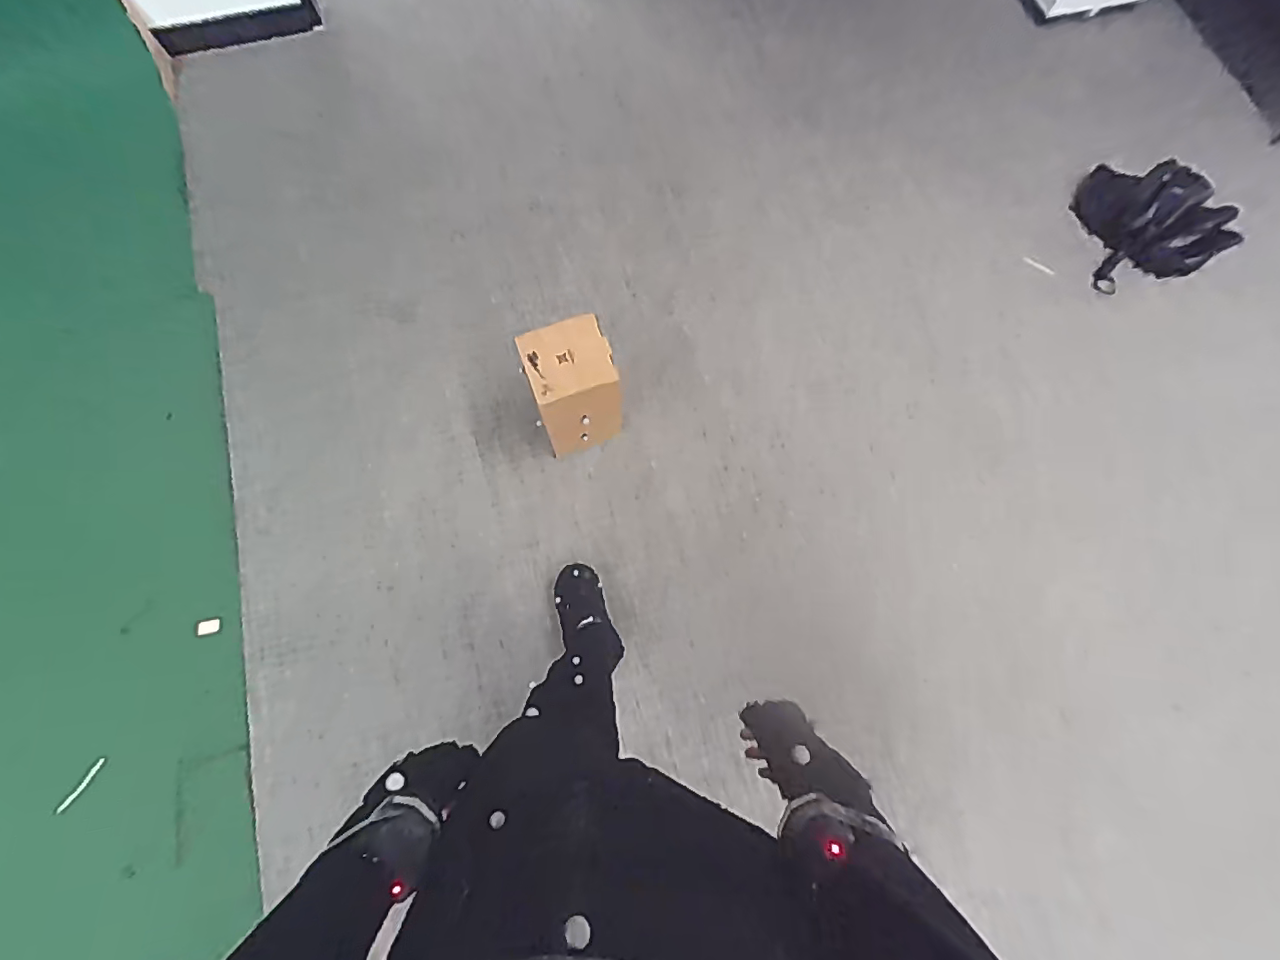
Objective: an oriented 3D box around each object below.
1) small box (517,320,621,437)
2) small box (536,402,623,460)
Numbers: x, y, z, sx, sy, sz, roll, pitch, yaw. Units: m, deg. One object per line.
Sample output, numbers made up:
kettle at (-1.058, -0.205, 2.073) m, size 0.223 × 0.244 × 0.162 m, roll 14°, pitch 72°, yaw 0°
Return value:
small box at (-0.151, -0.216, 1.188) m, size 0.179 × 0.176 × 0.168 m, roll -20°, pitch 75°, yaw -8°
small box at (-0.156, -0.173, 1.345) m, size 0.179 × 0.176 × 0.168 m, roll -25°, pitch 75°, yaw -9°
